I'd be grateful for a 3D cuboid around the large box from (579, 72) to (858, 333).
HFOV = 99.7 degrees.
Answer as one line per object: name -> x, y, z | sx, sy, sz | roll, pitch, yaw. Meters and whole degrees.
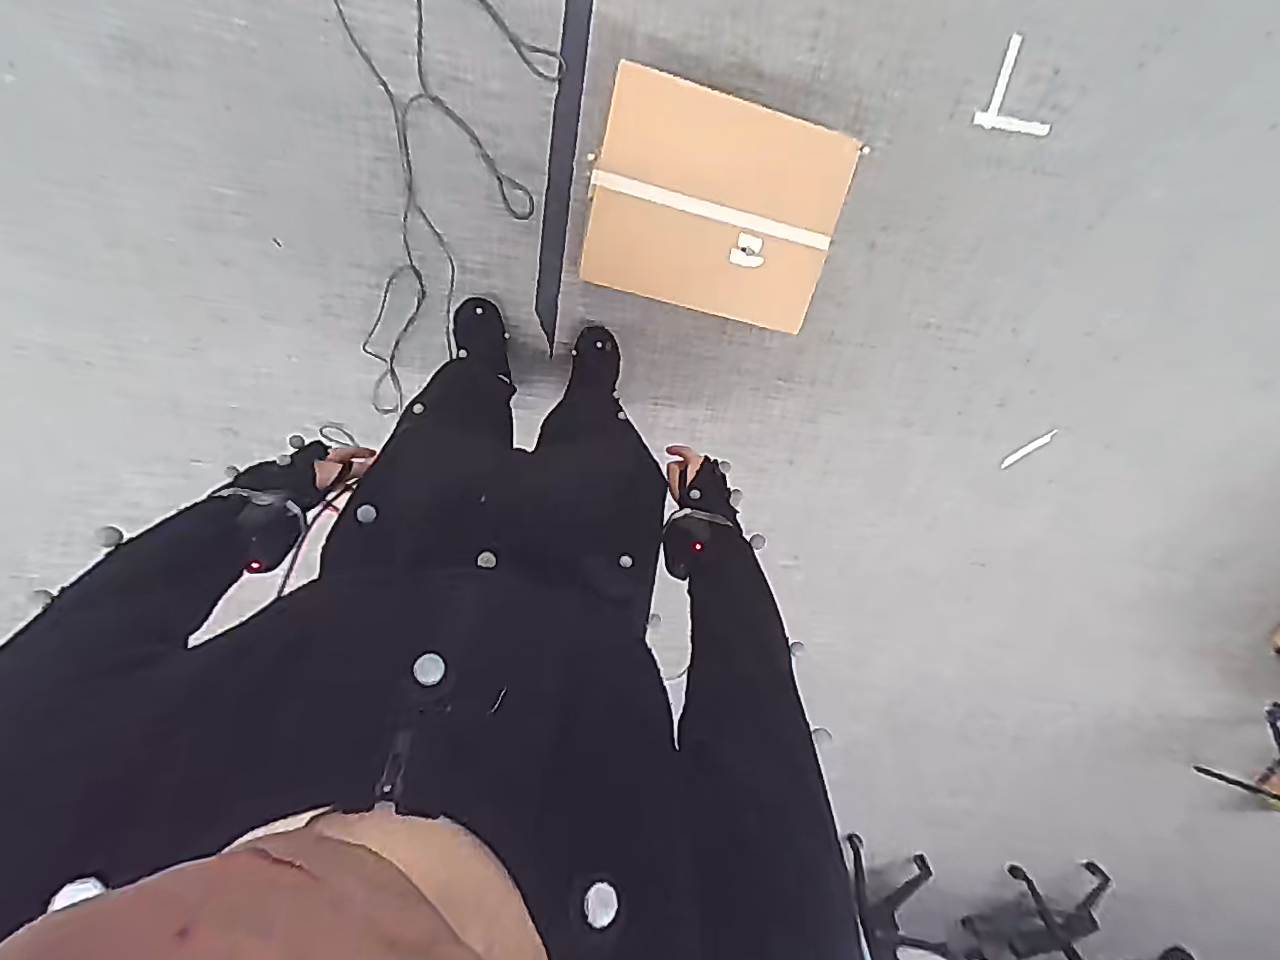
large box -> 0.108, -0.491, 1.019 | 0.408, 0.320, 0.320 | 10, 113, -12
